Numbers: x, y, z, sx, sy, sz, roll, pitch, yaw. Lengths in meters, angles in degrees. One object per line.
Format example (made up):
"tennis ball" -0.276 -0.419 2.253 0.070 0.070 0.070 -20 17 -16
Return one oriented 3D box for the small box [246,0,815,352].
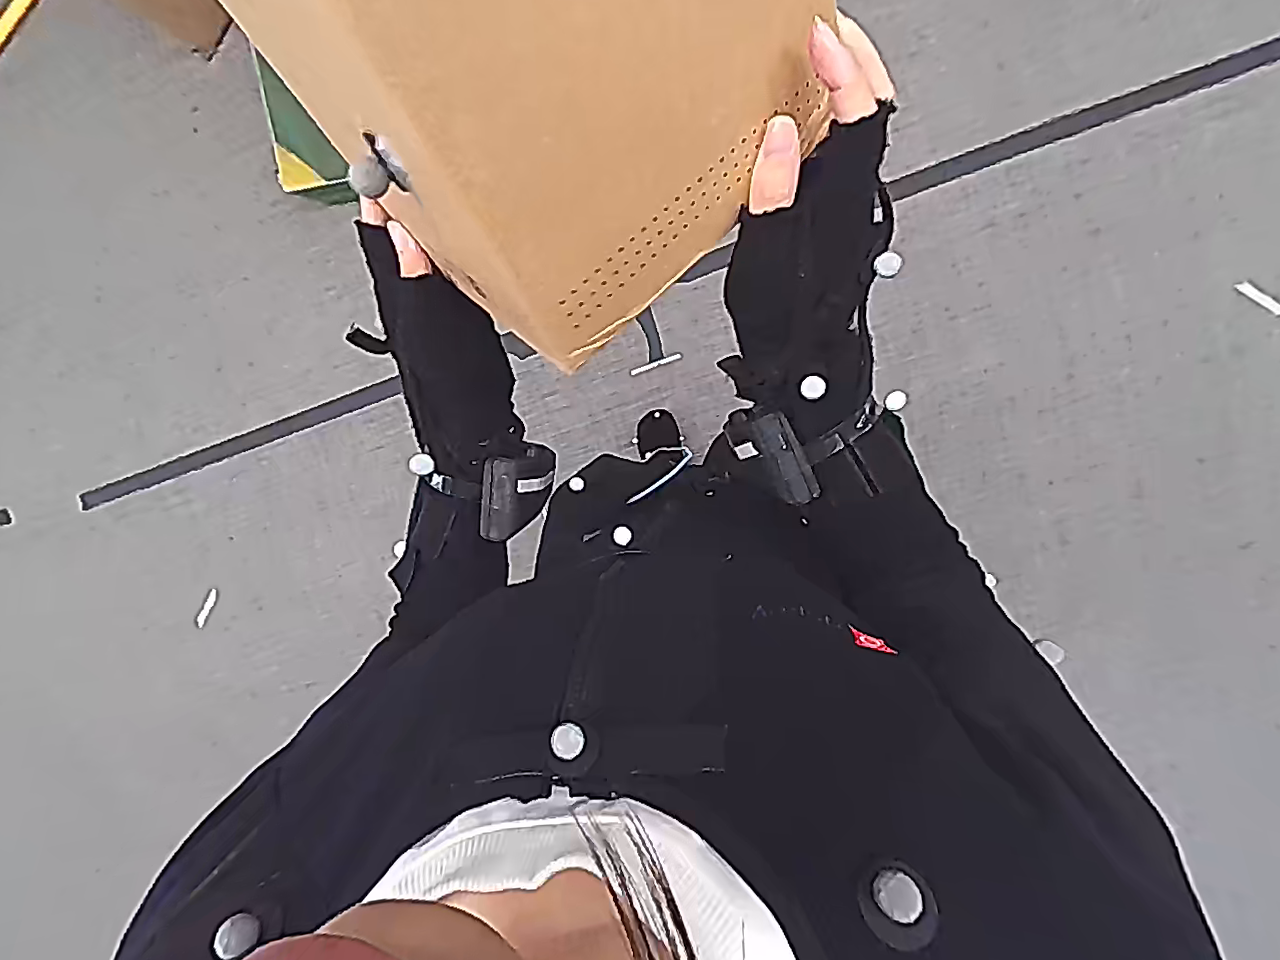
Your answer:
"small box" -0.040 -0.192 0.245 0.179 0.176 0.168 -42 54 -6
